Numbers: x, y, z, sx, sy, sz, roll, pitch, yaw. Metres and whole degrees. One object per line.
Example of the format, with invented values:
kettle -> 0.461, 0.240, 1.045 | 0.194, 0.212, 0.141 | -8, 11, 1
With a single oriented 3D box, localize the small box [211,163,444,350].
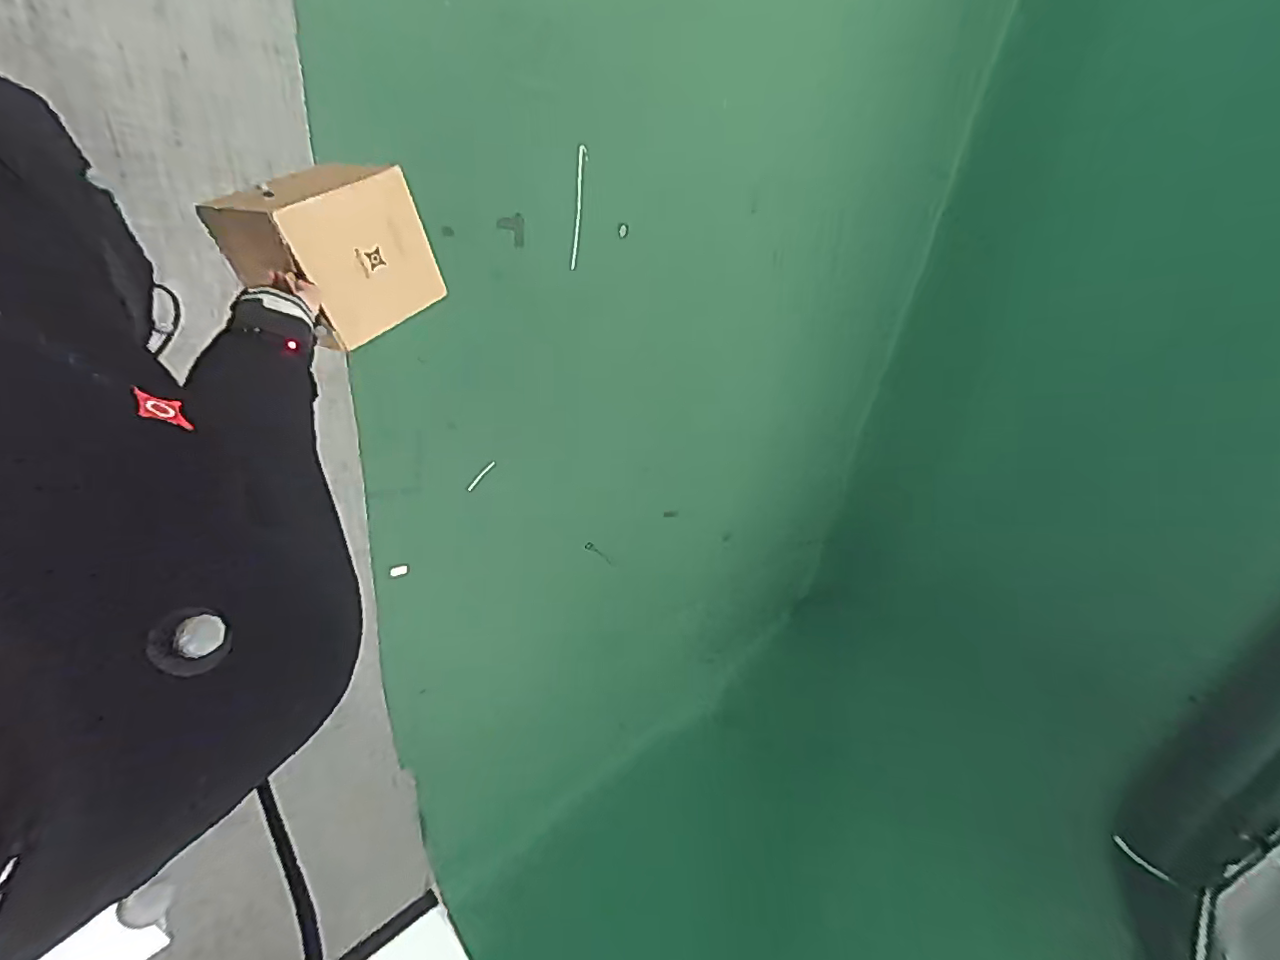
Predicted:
small box -> -0.396, -0.290, 0.692 | 0.179, 0.176, 0.168 | -53, 148, -36
